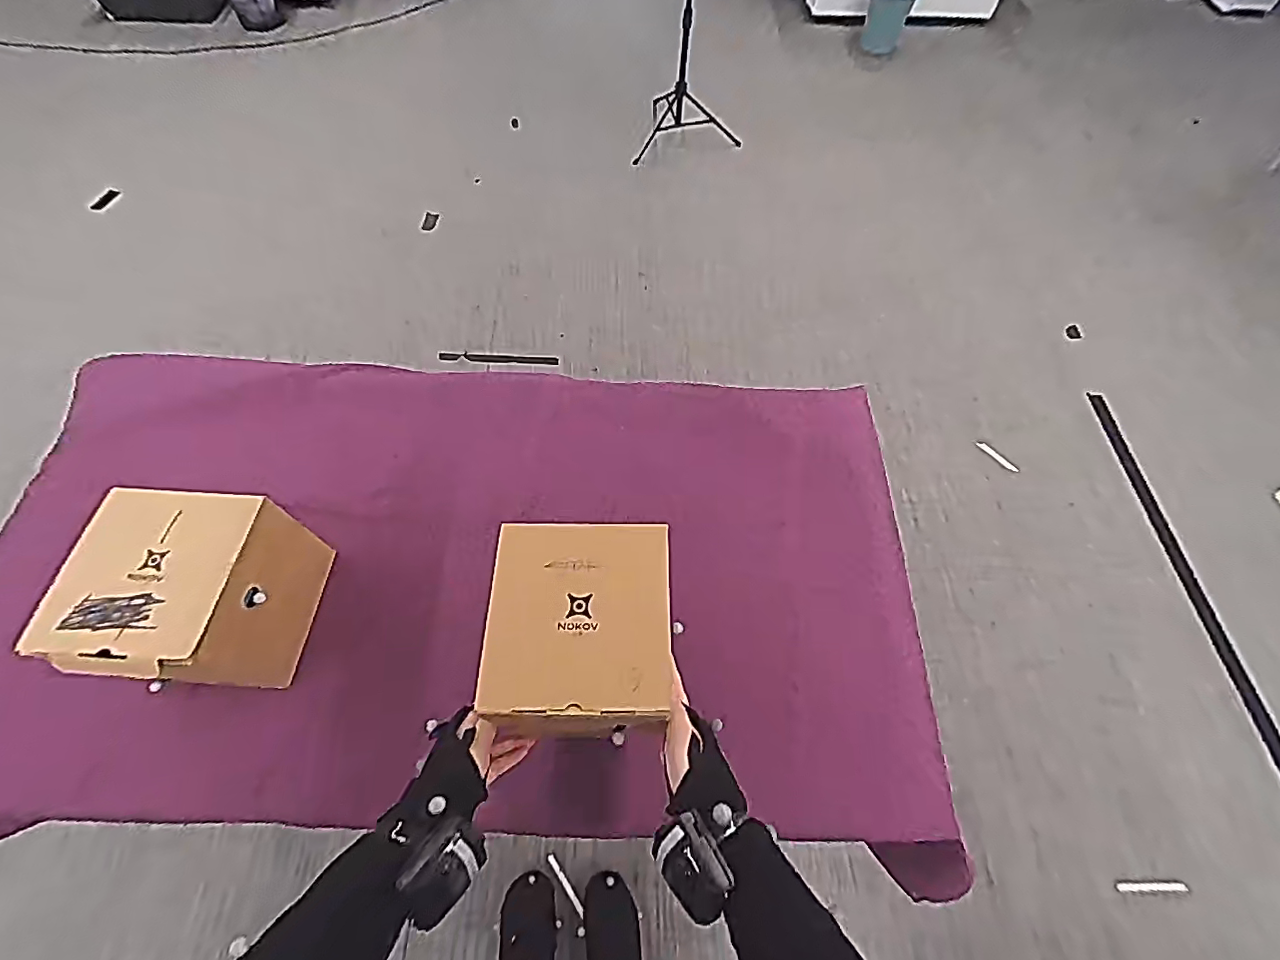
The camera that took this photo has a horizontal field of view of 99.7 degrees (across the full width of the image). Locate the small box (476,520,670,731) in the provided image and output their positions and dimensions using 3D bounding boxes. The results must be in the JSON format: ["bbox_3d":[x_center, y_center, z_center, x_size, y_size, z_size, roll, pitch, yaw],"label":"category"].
[{"bbox_3d":[-0.054,0.157,0.559,0.168,0.176,0.179,1,59,0],"label":"small box"}]

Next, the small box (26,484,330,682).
[{"bbox_3d":[-0.487,0.124,0.611,0.168,0.176,0.179,4,61,0],"label":"small box"}]
